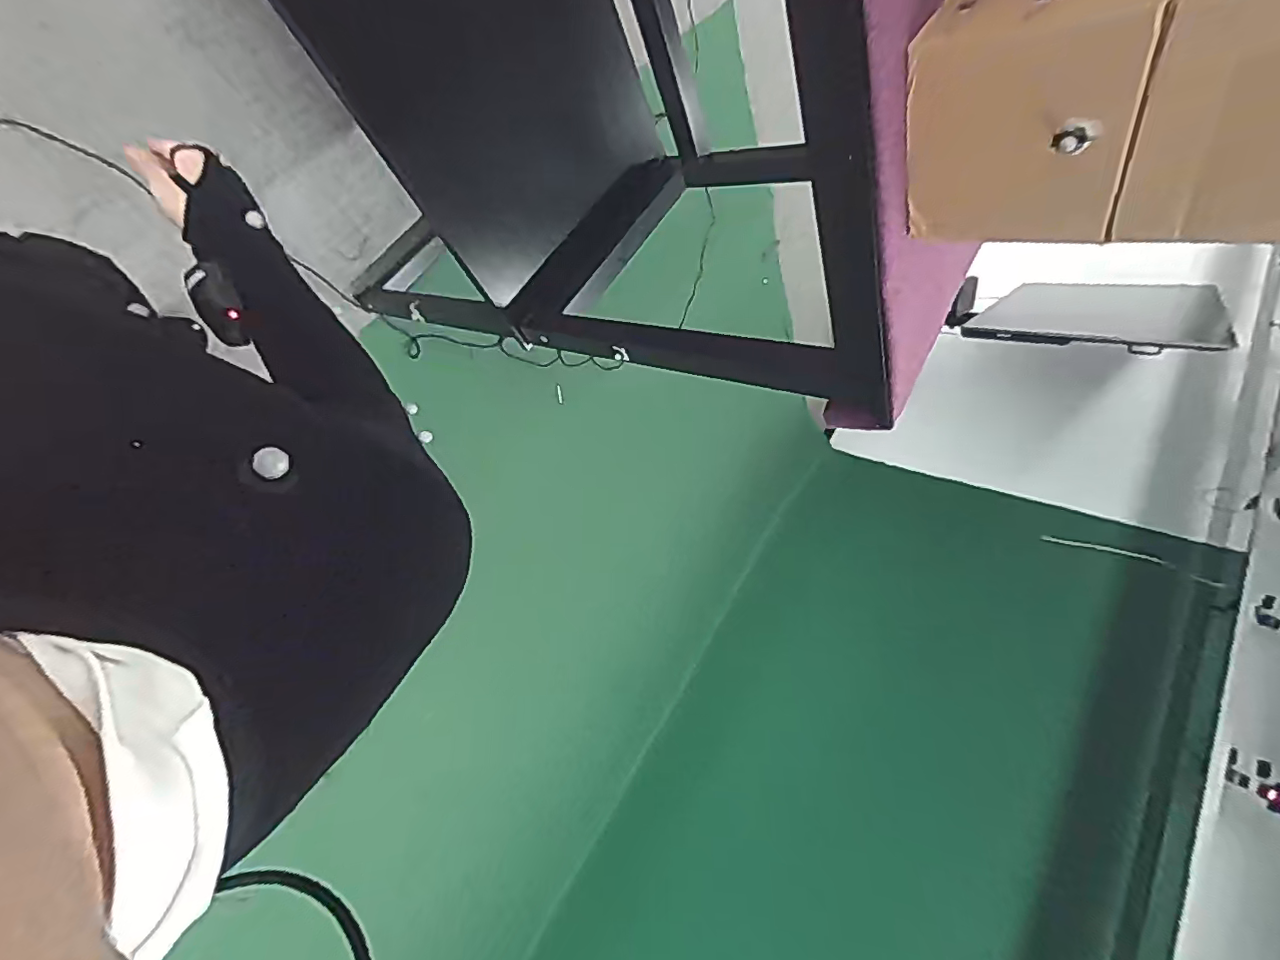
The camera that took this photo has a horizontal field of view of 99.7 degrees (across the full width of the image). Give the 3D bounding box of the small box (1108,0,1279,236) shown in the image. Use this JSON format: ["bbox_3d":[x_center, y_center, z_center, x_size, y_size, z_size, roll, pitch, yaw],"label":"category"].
[{"bbox_3d":[0.468,-0.291,0.381,0.168,0.176,0.179,-52,140,-21],"label":"small box"}]

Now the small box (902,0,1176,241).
[{"bbox_3d":[0.347,-0.335,0.479,0.168,0.176,0.179,-53,140,-20],"label":"small box"}]
